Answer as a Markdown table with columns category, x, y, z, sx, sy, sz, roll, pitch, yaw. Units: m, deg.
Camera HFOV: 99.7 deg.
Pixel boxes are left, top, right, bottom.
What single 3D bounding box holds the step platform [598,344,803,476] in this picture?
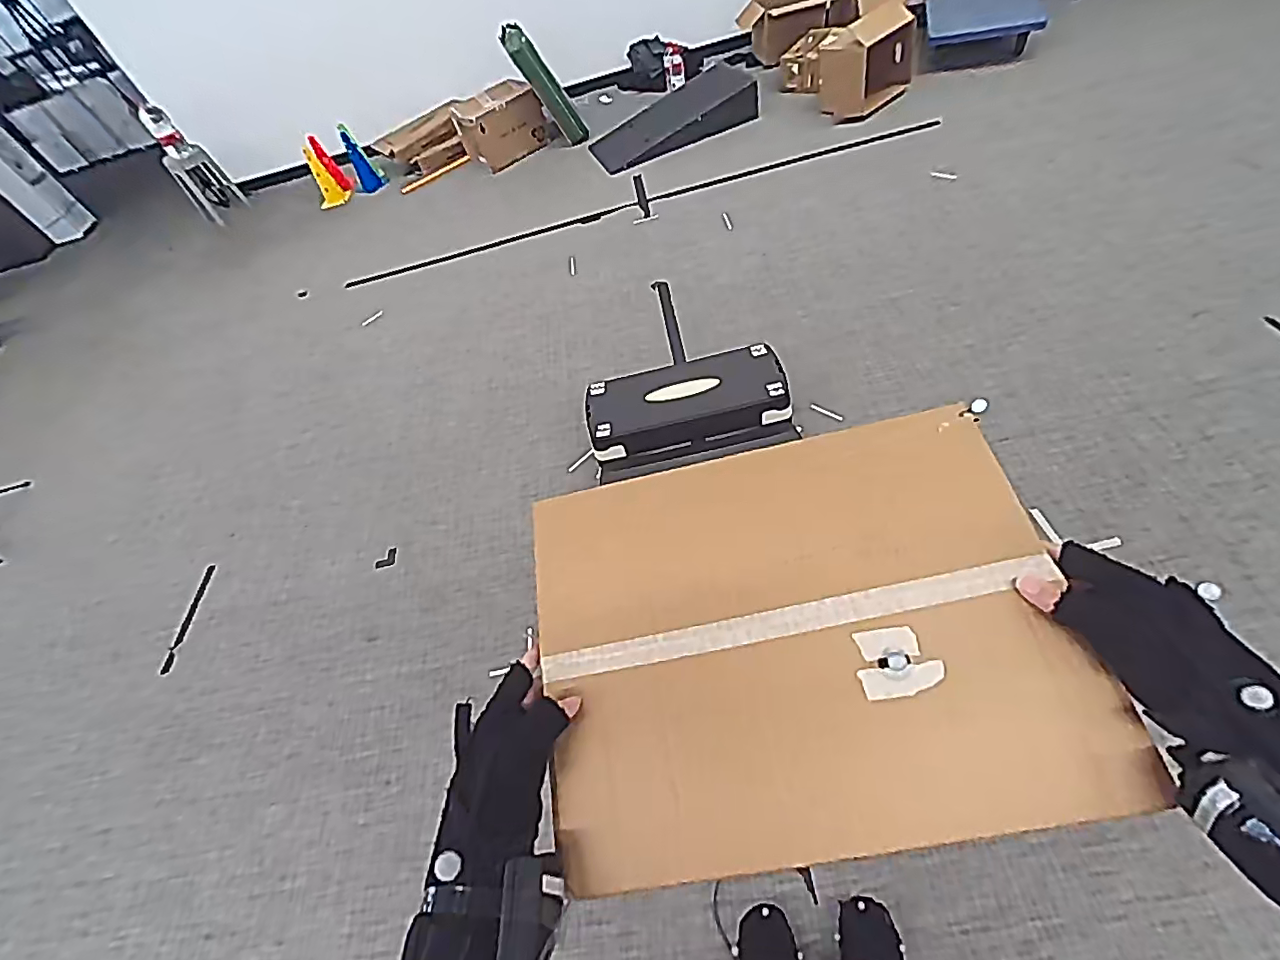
| category | x | y | z | sx | sy | sz | roll | pitch | yaw |
| --- | --- | --- | --- | --- | --- | --- | --- | --- | --- |
| step platform | 0.198 | -0.245 | 1.861 | 0.684 | 0.204 | 0.286 | -13 | 52 | 4 |

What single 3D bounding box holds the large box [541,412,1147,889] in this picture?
| category | x | y | z | sx | sy | sz | roll | pitch | yaw |
| --- | --- | --- | --- | --- | --- | --- | --- | --- | --- |
| large box | 0.146 | 0.183 | 0.571 | 0.408 | 0.320 | 0.320 | -13 | 62 | 6 |
